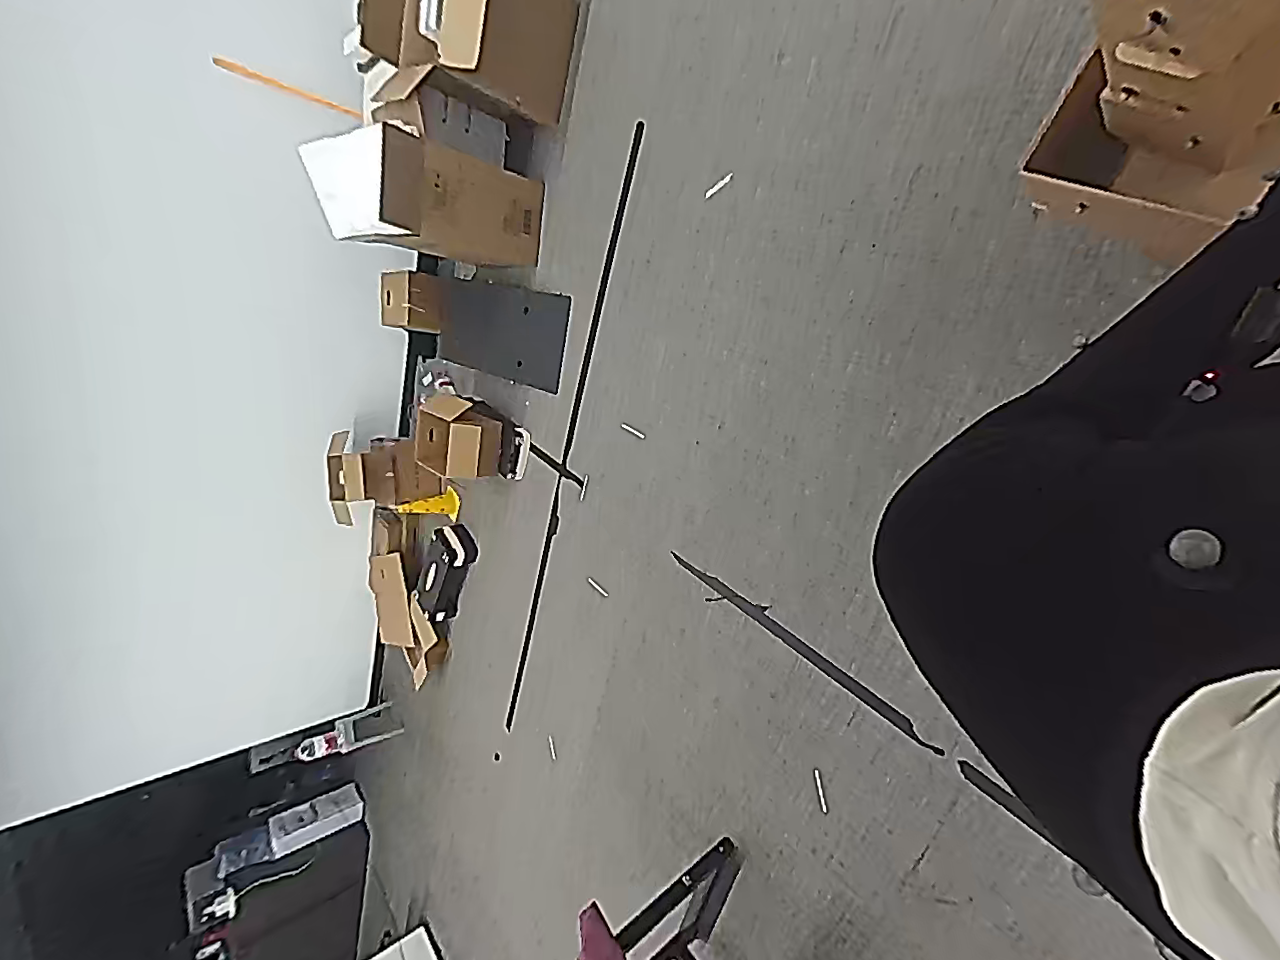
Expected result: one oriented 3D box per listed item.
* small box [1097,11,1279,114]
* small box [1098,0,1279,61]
[{"bbox_3d":[0.722,-0.592,0.663,0.168,0.176,0.179,50,124,30],"label":"small box"},{"bbox_3d":[0.605,-0.578,0.548,0.168,0.176,0.179,54,128,28],"label":"small box"}]
